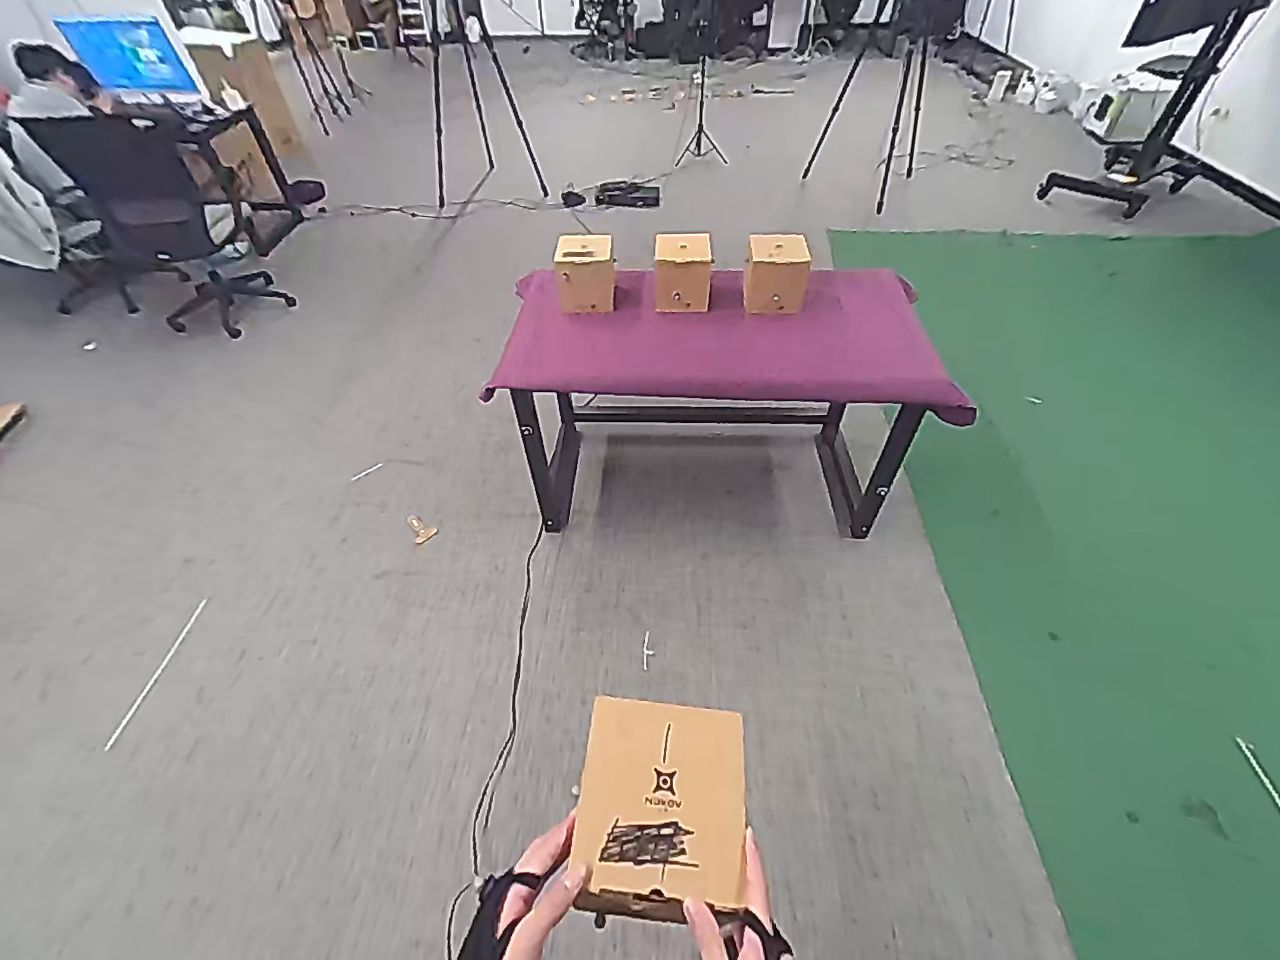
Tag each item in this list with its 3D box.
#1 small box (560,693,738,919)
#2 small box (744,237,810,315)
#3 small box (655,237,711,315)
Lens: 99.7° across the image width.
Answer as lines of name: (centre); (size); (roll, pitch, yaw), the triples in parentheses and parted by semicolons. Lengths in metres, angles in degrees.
small box: (0.015, 0.364, 0.601); (0.168, 0.176, 0.179); (6, 46, 2)
small box: (0.413, -0.625, 1.652); (0.168, 0.176, 0.179); (1, 49, 5)
small box: (0.132, -0.634, 1.679); (0.168, 0.176, 0.179); (0, 49, 3)
